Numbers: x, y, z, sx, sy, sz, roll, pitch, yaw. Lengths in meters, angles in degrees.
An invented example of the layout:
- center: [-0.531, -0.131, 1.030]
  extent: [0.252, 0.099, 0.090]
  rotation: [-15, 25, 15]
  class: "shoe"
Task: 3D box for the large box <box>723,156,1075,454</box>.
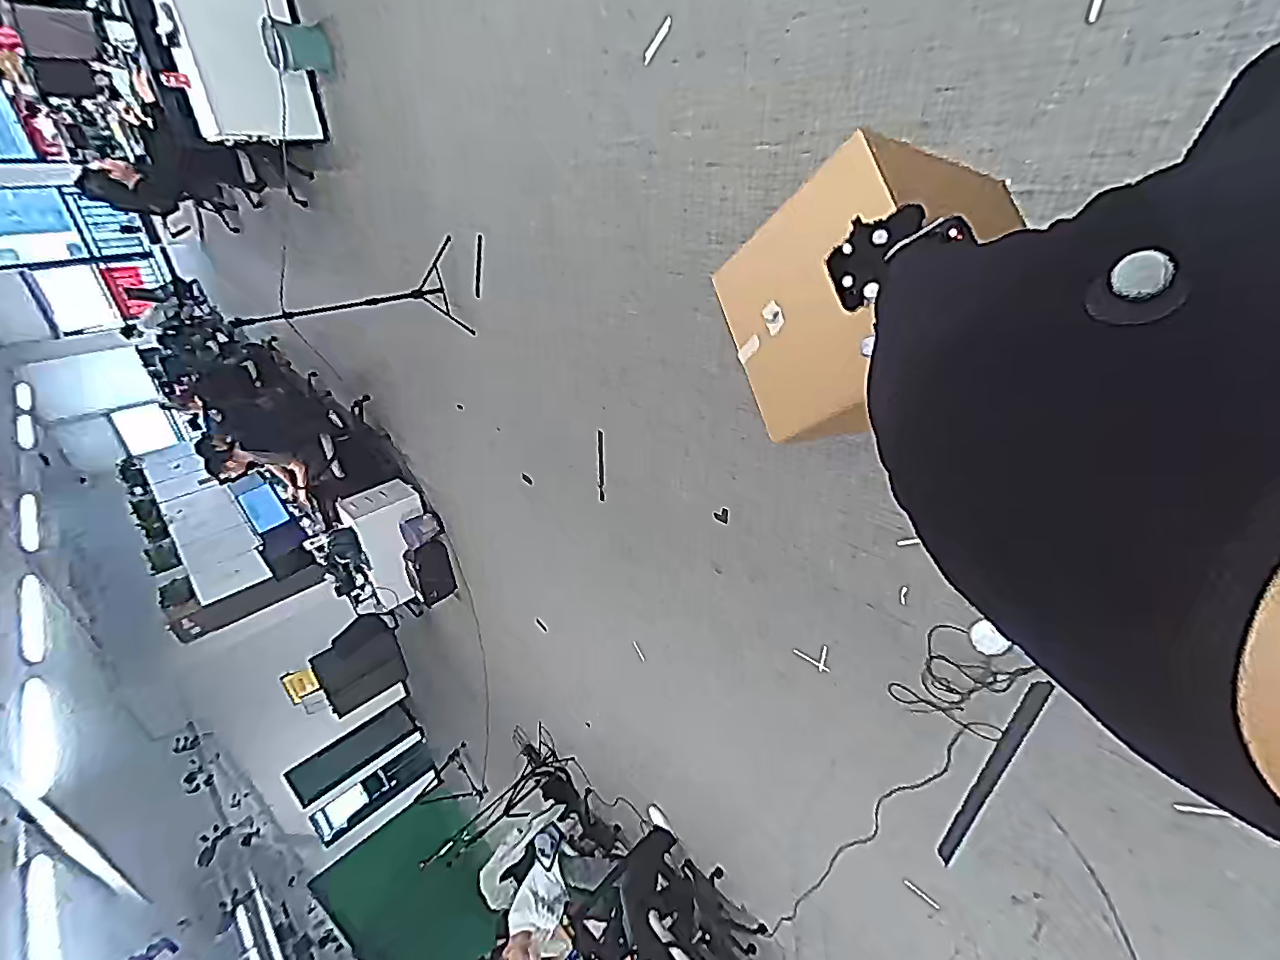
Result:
- center: [0.416, -0.257, 0.898]
  extent: [0.320, 0.408, 0.320]
  rotation: [-32, 72, 53]
  class: "large box"
